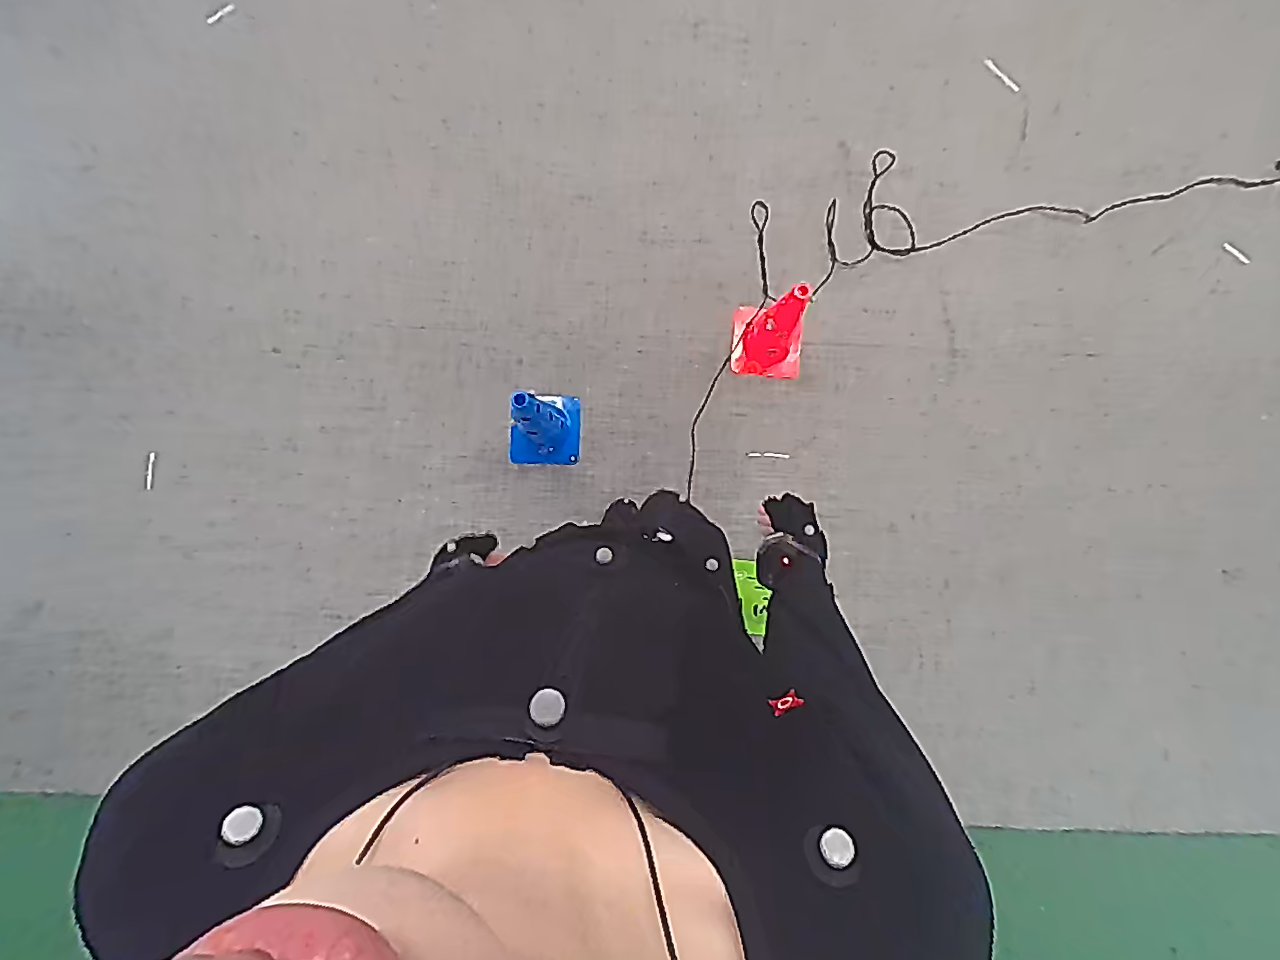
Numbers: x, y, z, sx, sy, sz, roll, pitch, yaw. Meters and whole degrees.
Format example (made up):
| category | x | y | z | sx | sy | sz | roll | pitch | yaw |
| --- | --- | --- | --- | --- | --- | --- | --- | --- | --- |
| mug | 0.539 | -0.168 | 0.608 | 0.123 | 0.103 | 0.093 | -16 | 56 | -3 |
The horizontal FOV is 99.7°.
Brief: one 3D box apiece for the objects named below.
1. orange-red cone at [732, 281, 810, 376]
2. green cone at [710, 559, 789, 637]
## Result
| category | x | y | z | sx | sy | sz | roll | pitch | yaw |
| --- | --- | --- | --- | --- | --- | --- | --- | --- | --- |
| orange-red cone | 0.371 | -0.418 | 1.397 | 0.198 | 0.360 | 0.199 | 7 | 86 | 1 |
| green cone | 0.300 | 0.307 | 1.327 | 0.200 | 0.368 | 0.202 | 5 | 83 | 0 |
